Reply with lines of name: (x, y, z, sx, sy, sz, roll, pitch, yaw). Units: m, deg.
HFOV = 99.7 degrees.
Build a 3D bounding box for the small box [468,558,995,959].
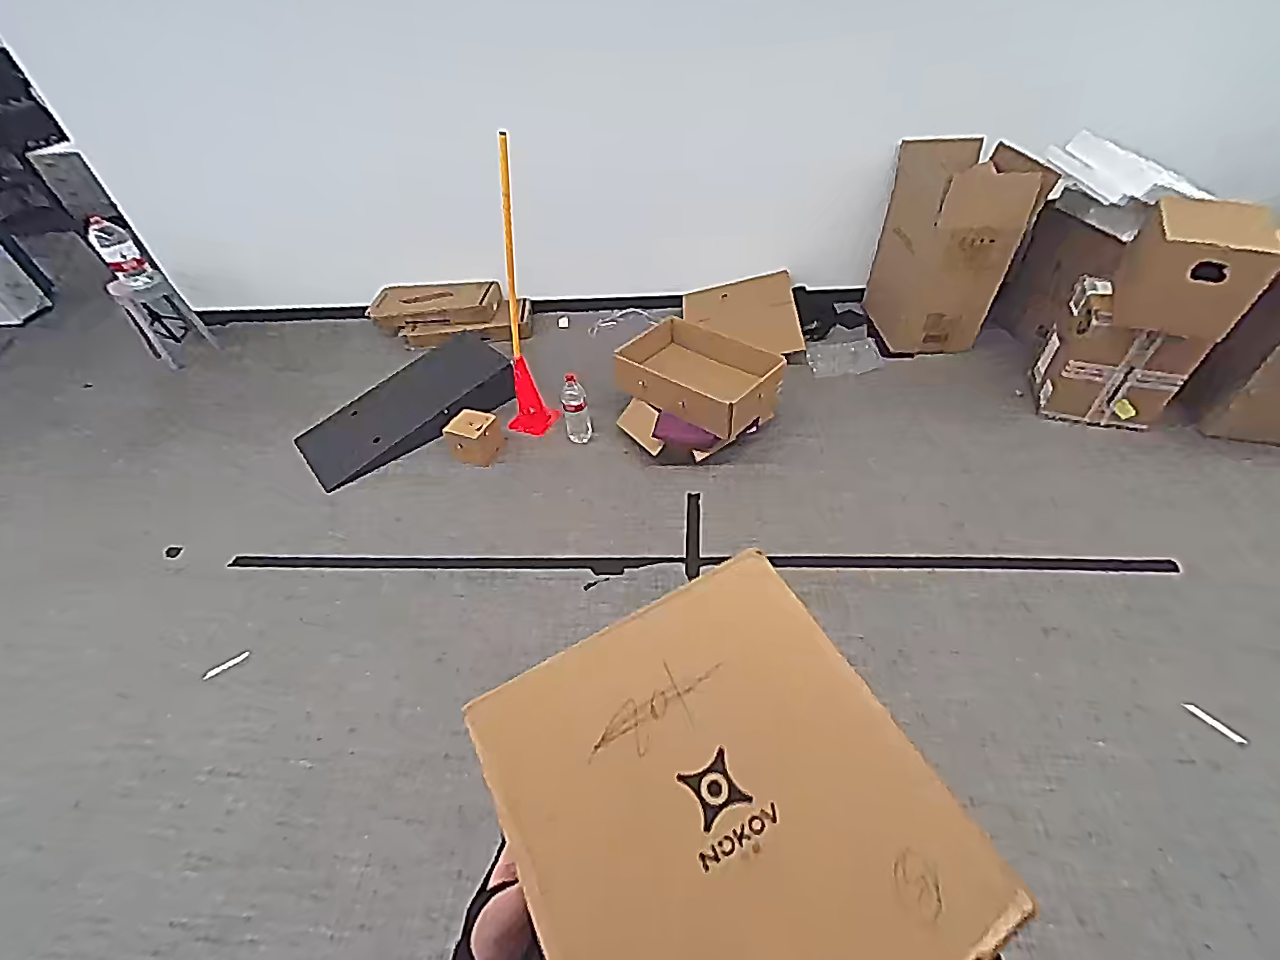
small box: (0.032, 0.182, 0.299, 0.168, 0.176, 0.179, -26, 56, -17)
